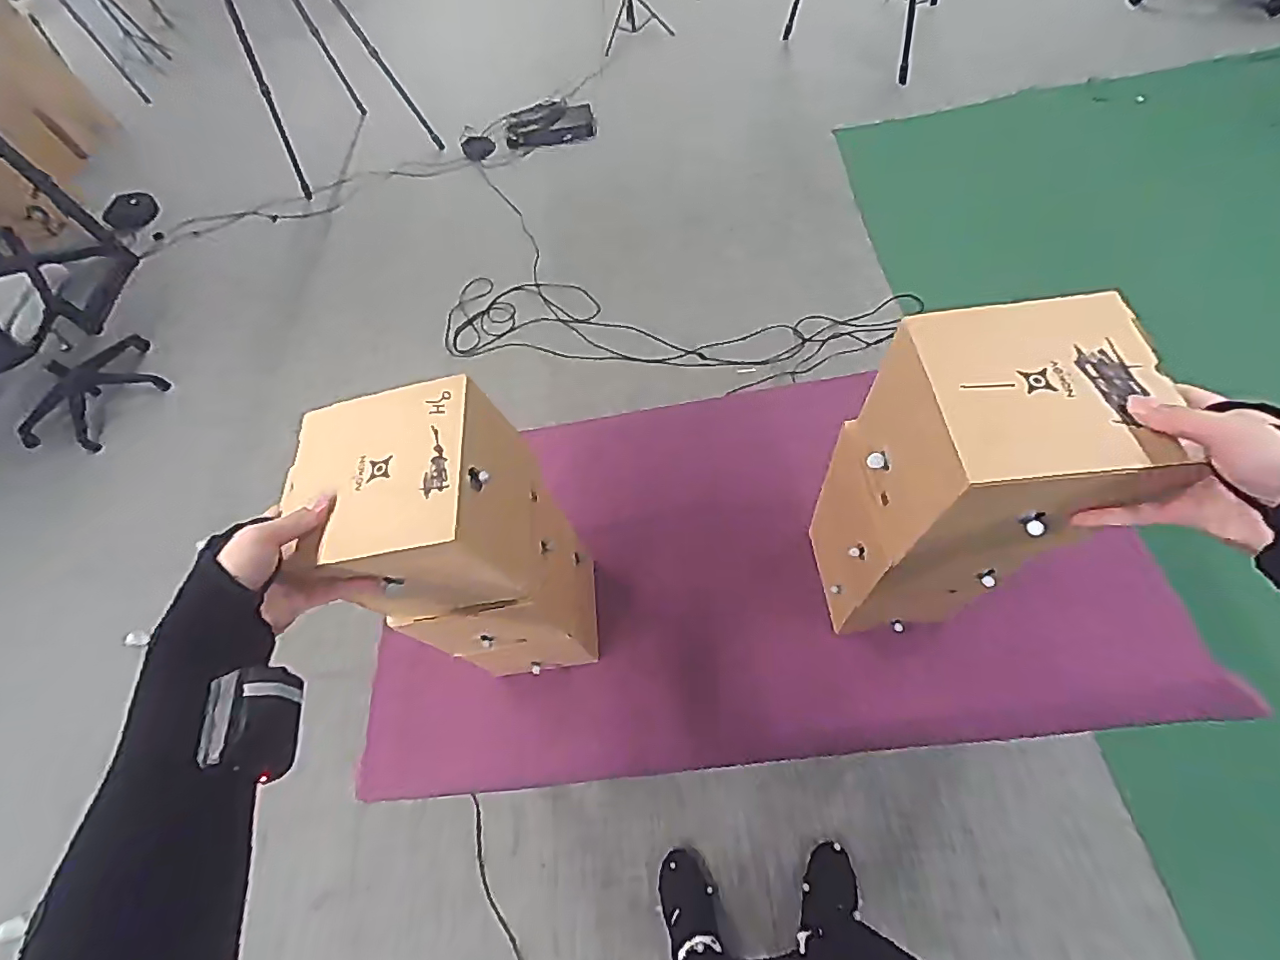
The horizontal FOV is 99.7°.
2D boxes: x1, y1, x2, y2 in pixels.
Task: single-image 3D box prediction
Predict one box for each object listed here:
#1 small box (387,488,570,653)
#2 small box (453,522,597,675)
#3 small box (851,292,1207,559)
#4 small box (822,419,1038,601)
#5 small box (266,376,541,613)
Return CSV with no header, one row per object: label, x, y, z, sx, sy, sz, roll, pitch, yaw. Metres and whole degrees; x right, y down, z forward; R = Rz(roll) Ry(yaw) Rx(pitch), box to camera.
small box,-0.192,0.108,0.692,0.168,0.176,0.179,-10,61,5
small box,-0.167,0.187,0.832,0.168,0.176,0.179,-9,60,6
small box,0.312,-0.038,0.485,0.179,0.176,0.168,-6,61,5
small box,0.325,0.035,0.634,0.168,0.176,0.179,-9,60,5
small box,-0.216,0.027,0.542,0.179,0.176,0.168,-12,62,12
